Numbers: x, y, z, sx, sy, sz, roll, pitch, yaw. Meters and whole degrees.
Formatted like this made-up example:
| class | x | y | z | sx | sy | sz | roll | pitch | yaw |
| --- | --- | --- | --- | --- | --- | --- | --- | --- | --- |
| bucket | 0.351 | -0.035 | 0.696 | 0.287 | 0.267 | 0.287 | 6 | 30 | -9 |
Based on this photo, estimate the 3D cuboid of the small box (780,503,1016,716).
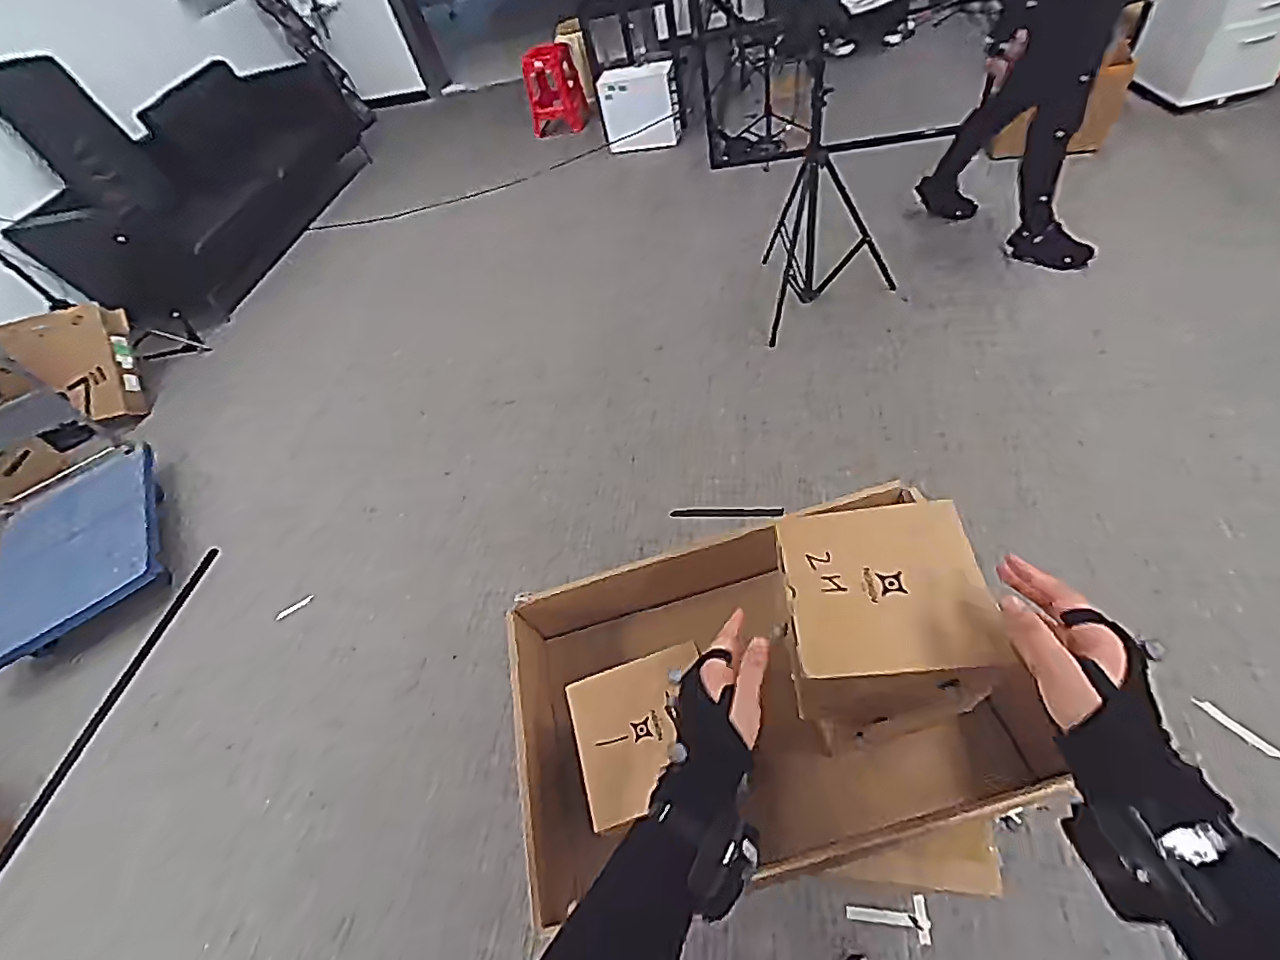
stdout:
| class | x | y | z | sx | sy | sz | roll | pitch | yaw |
| --- | --- | --- | --- | --- | --- | --- | --- | --- | --- |
| small box | 0.248 | 0.144 | 0.572 | 0.179 | 0.176 | 0.168 | -8 | 54 | 11 |
